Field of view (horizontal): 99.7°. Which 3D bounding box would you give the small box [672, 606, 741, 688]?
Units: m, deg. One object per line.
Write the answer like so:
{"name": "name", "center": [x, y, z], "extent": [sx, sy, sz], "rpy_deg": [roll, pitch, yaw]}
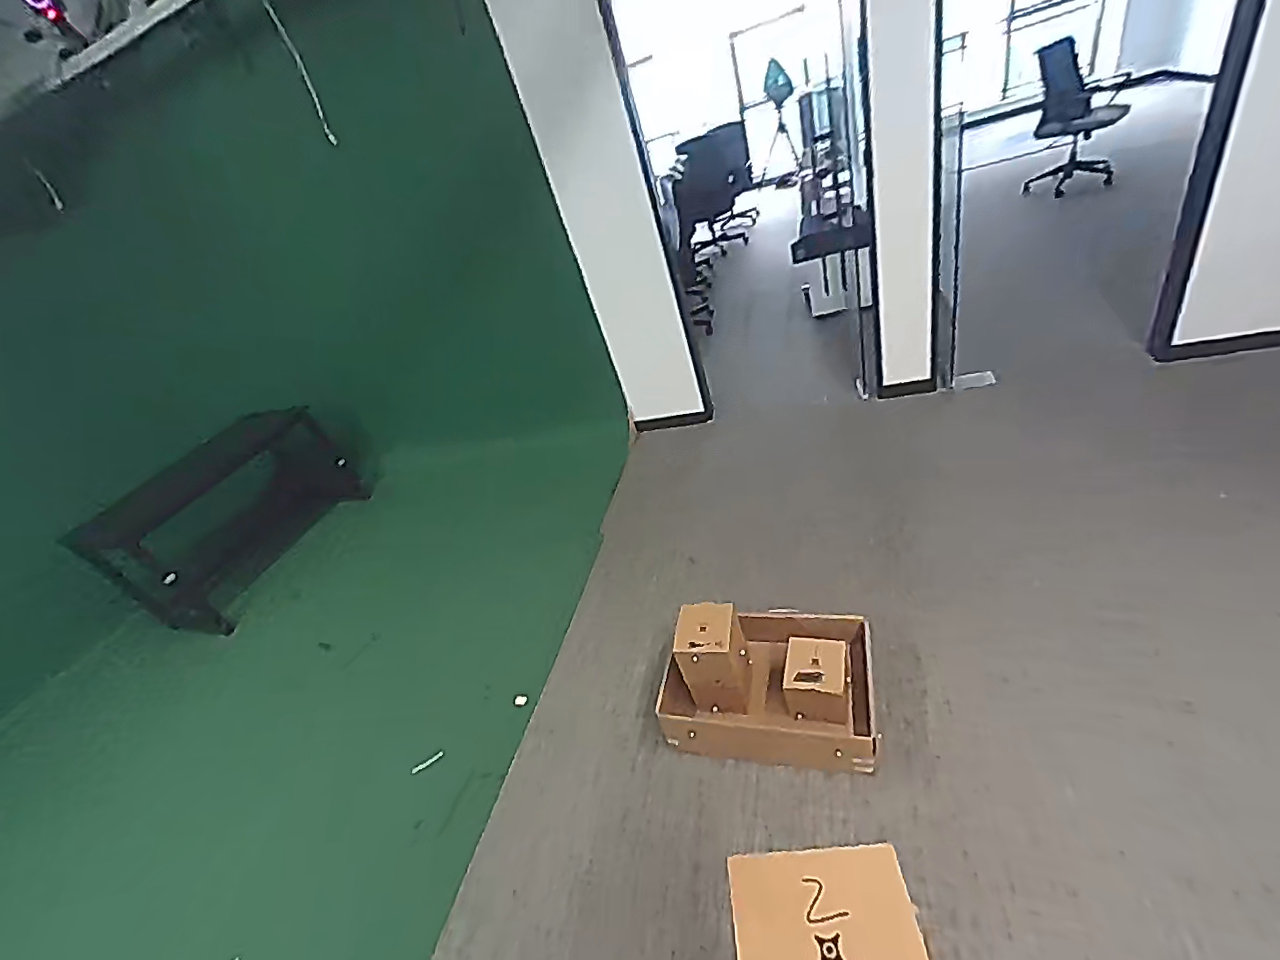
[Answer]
{"name": "small box", "center": [0.208, 0.501, 1.631], "extent": [0.168, 0.176, 0.179], "rpy_deg": [-6, 36, 20]}
